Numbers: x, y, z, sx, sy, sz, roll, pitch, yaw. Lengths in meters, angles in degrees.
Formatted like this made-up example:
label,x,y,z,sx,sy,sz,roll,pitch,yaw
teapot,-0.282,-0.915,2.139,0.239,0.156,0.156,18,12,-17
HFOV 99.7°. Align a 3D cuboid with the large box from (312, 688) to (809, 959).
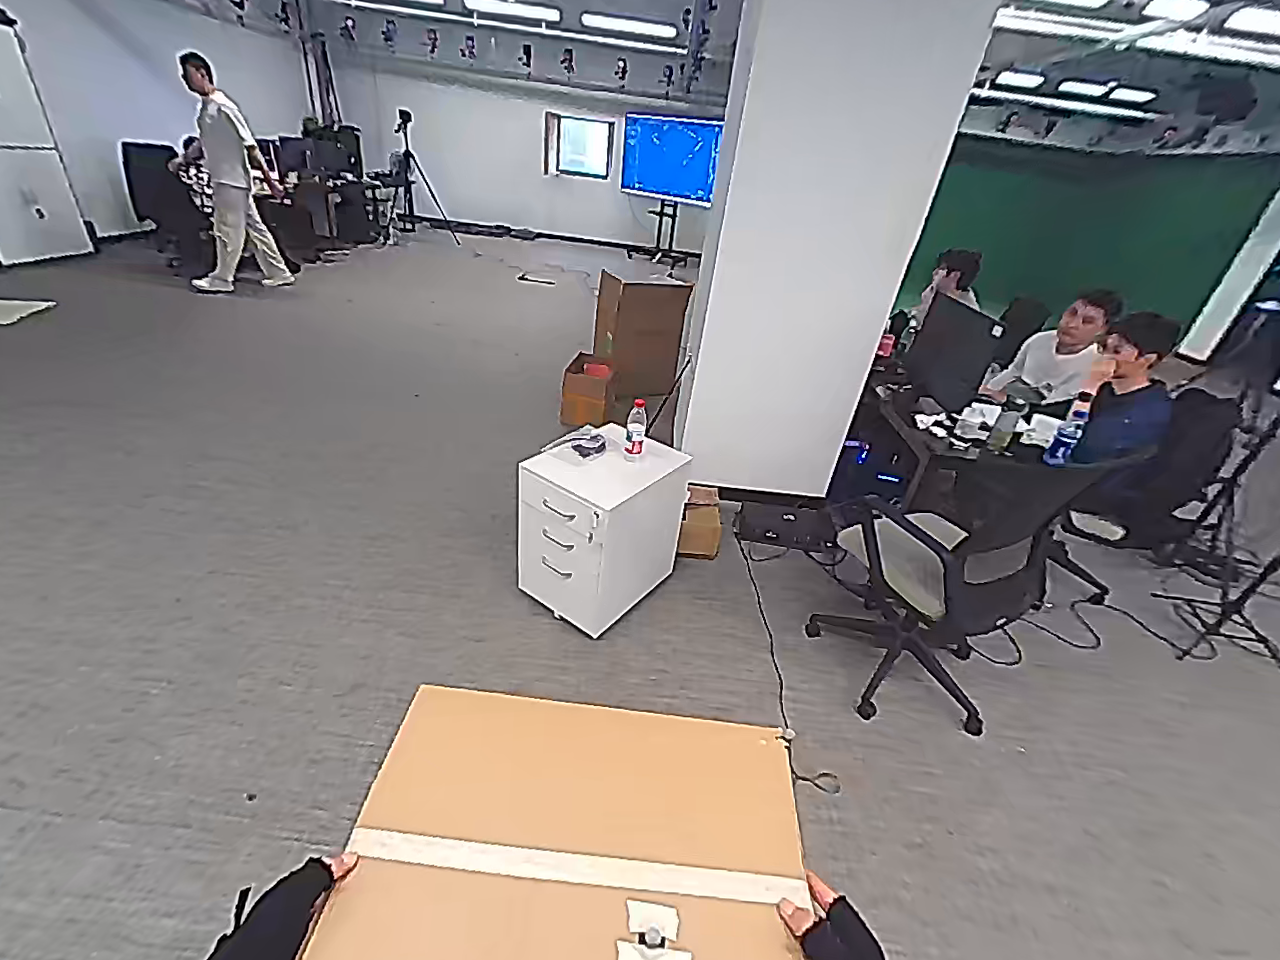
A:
label,x,y,z,sx,sy,sz,roll,pitch,yaw
large box,-0.069,0.465,0.572,0.408,0.320,0.320,8,36,0
